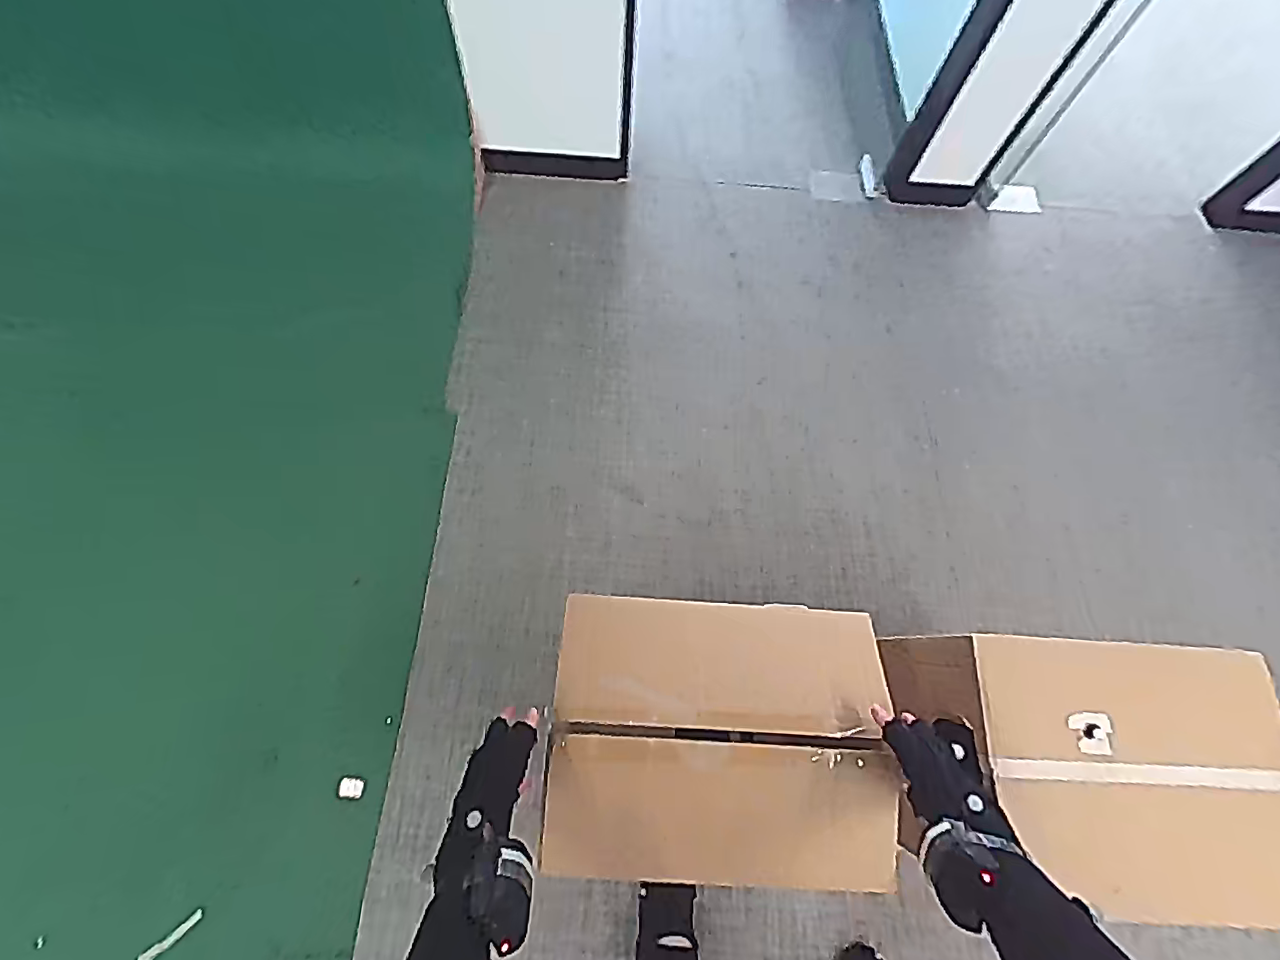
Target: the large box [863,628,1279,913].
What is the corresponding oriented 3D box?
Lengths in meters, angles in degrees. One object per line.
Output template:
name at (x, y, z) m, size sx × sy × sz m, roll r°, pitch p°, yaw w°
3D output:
large box at (0.603, 0.392, 0.809) m, size 0.408 × 0.320 × 0.320 m, roll 3°, pitch 72°, yaw -1°
